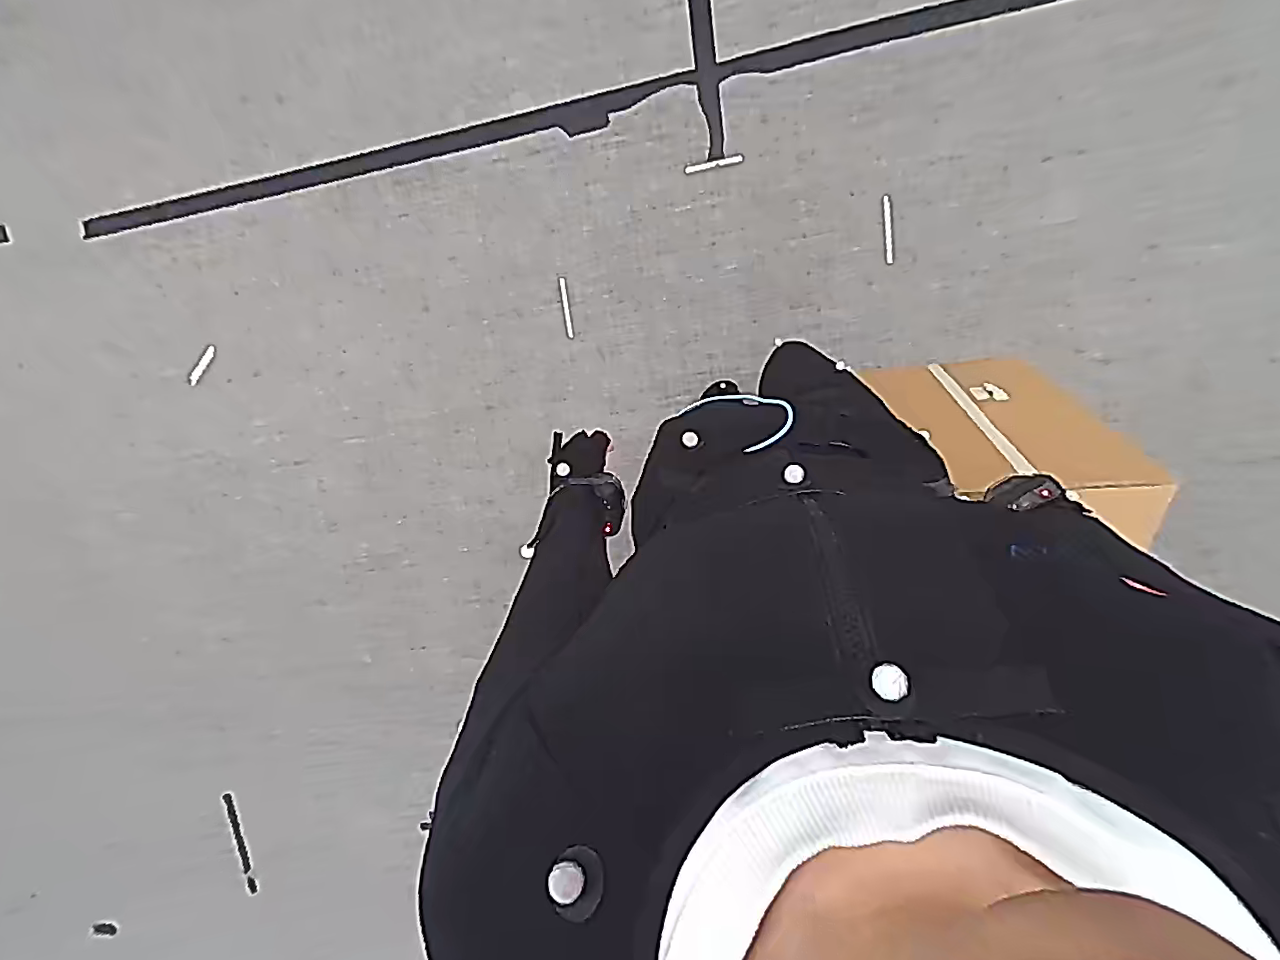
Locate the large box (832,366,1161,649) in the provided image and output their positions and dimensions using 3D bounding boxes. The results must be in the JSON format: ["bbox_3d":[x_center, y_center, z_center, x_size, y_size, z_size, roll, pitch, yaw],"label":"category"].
[{"bbox_3d":[0.537,0.033,0.933,0.320,0.408,0.320,-3,123,8],"label":"large box"}]
